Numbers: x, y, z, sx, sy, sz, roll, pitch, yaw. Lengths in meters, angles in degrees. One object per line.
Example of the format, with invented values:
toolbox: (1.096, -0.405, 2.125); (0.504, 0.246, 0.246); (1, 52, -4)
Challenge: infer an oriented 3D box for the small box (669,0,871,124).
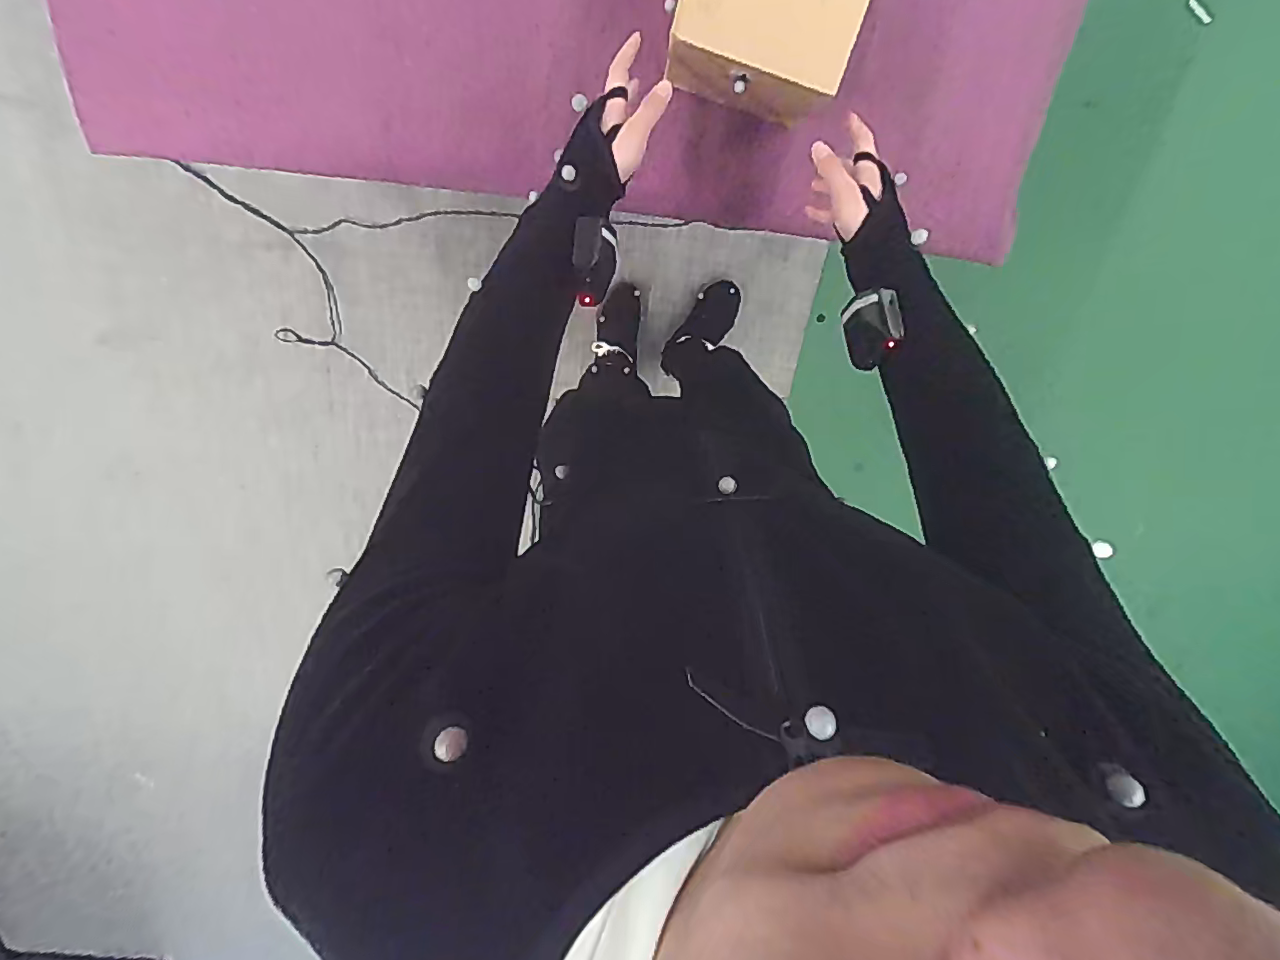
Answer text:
small box: (0.135, -0.504, 0.570); (0.179, 0.176, 0.168); (16, 114, -7)
